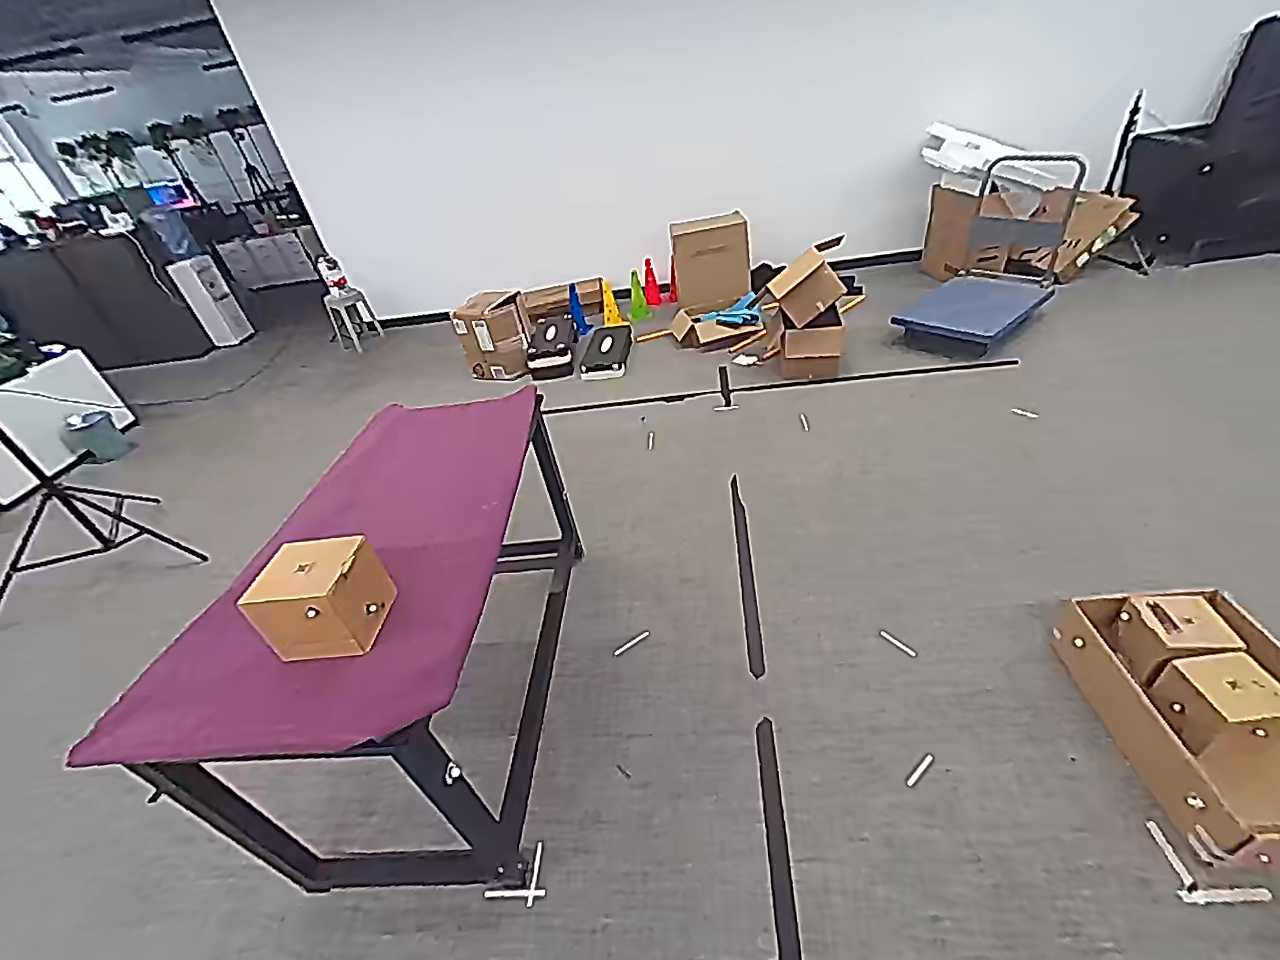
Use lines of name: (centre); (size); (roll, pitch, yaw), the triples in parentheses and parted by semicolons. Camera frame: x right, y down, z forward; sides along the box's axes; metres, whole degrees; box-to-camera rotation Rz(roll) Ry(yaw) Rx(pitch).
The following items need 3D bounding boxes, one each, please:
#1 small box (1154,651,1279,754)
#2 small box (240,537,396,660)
small box: (1.413, 0.544, 1.315); (0.179, 0.176, 0.168); (-8, 37, 4)
small box: (-0.621, 0.236, 1.070); (0.179, 0.176, 0.168); (-7, 35, 4)
